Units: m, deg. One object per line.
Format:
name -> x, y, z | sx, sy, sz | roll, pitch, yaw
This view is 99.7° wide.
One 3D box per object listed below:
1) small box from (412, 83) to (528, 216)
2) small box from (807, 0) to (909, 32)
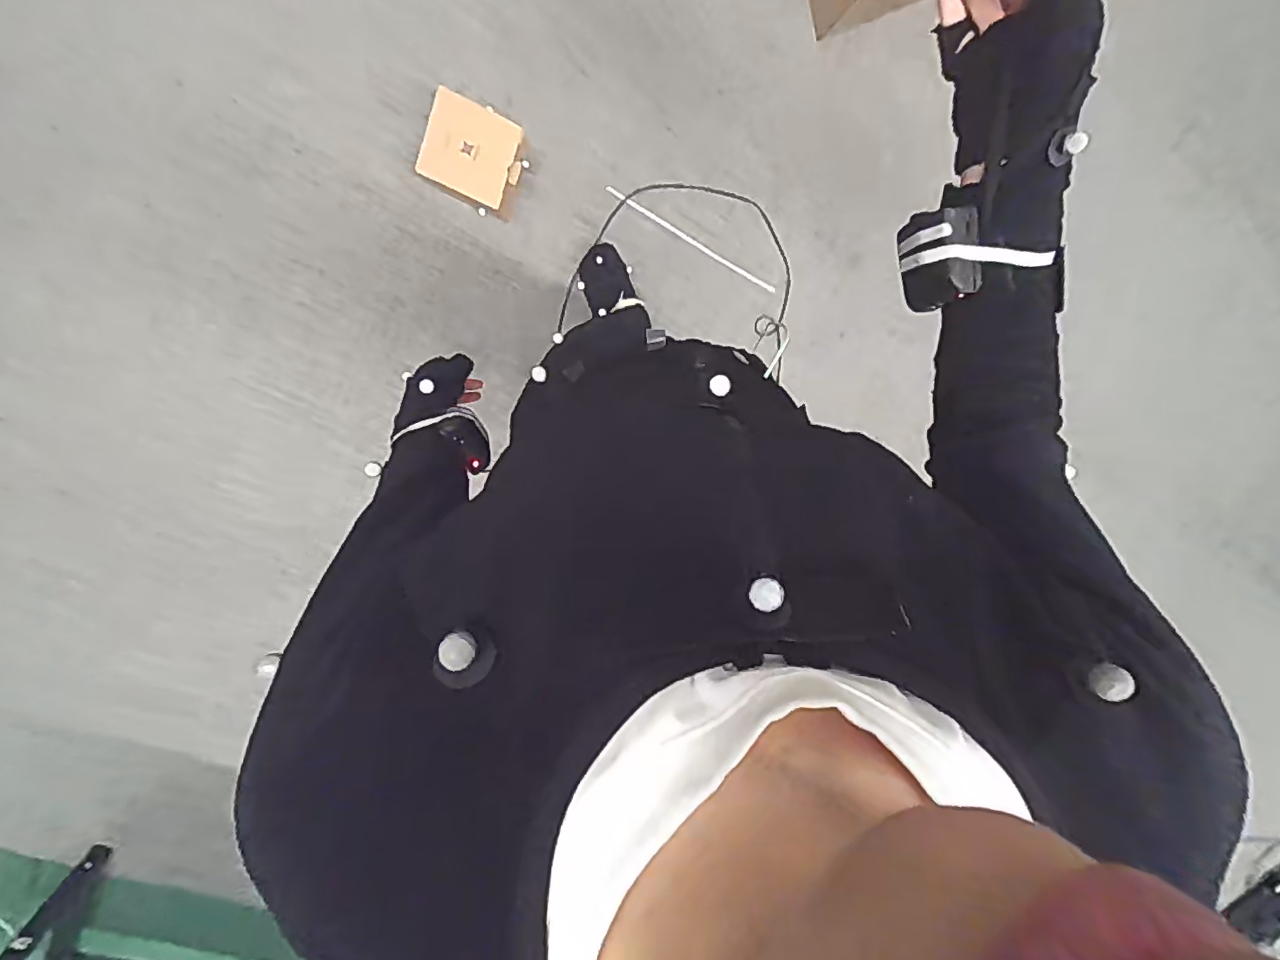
small box -> -0.346, -0.678, 1.136 | 0.179, 0.176, 0.168 | 21, 104, -12
small box -> 0.199, -0.455, 0.355 | 0.168, 0.176, 0.179 | -20, 110, 5
